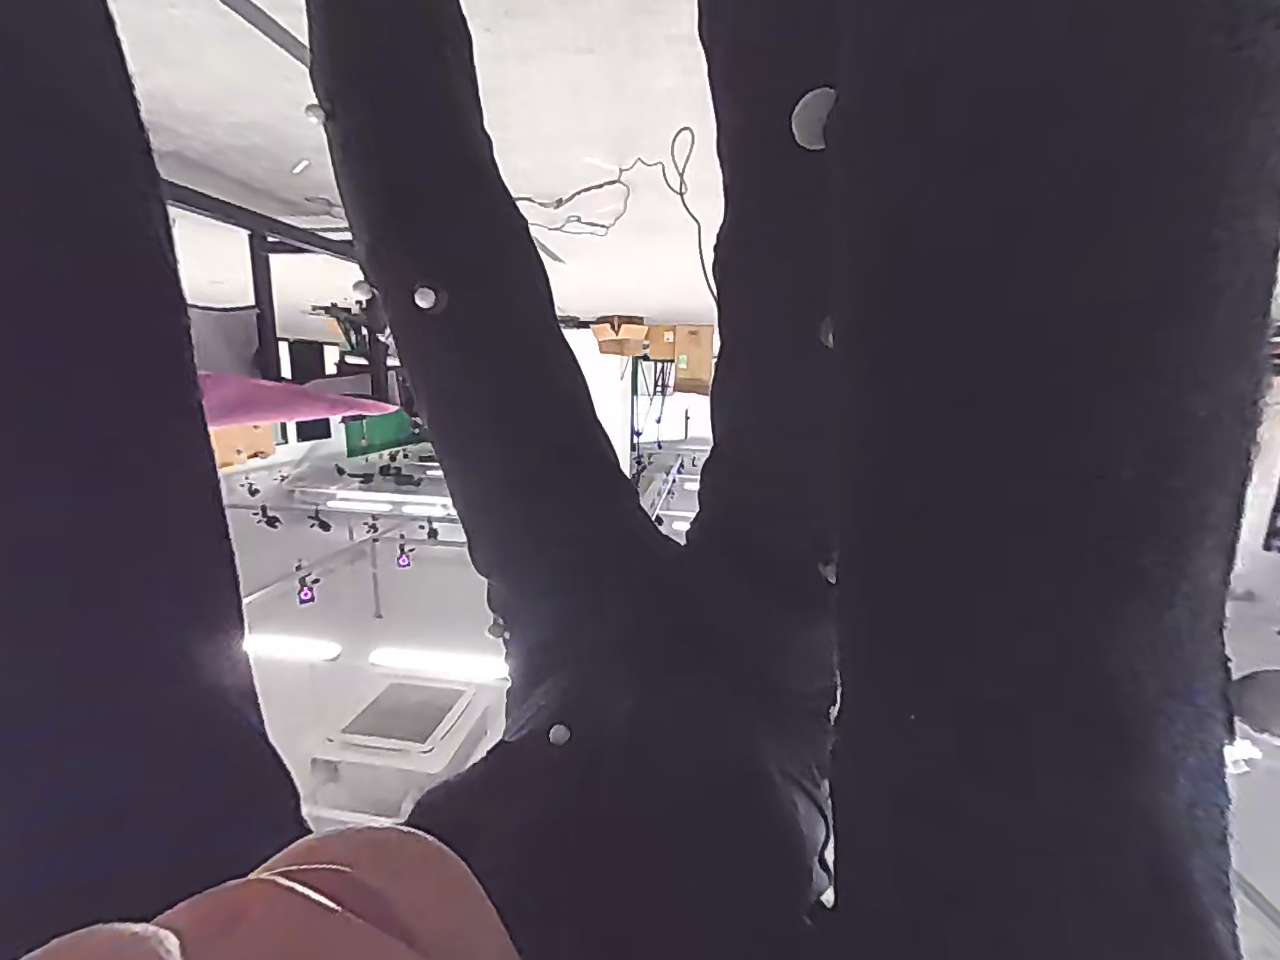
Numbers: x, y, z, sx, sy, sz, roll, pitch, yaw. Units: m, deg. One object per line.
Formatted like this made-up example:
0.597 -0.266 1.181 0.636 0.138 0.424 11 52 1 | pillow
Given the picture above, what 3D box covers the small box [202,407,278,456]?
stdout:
-1.519 -0.190 2.054 0.179 0.176 0.168 3 -168 9 | small box
